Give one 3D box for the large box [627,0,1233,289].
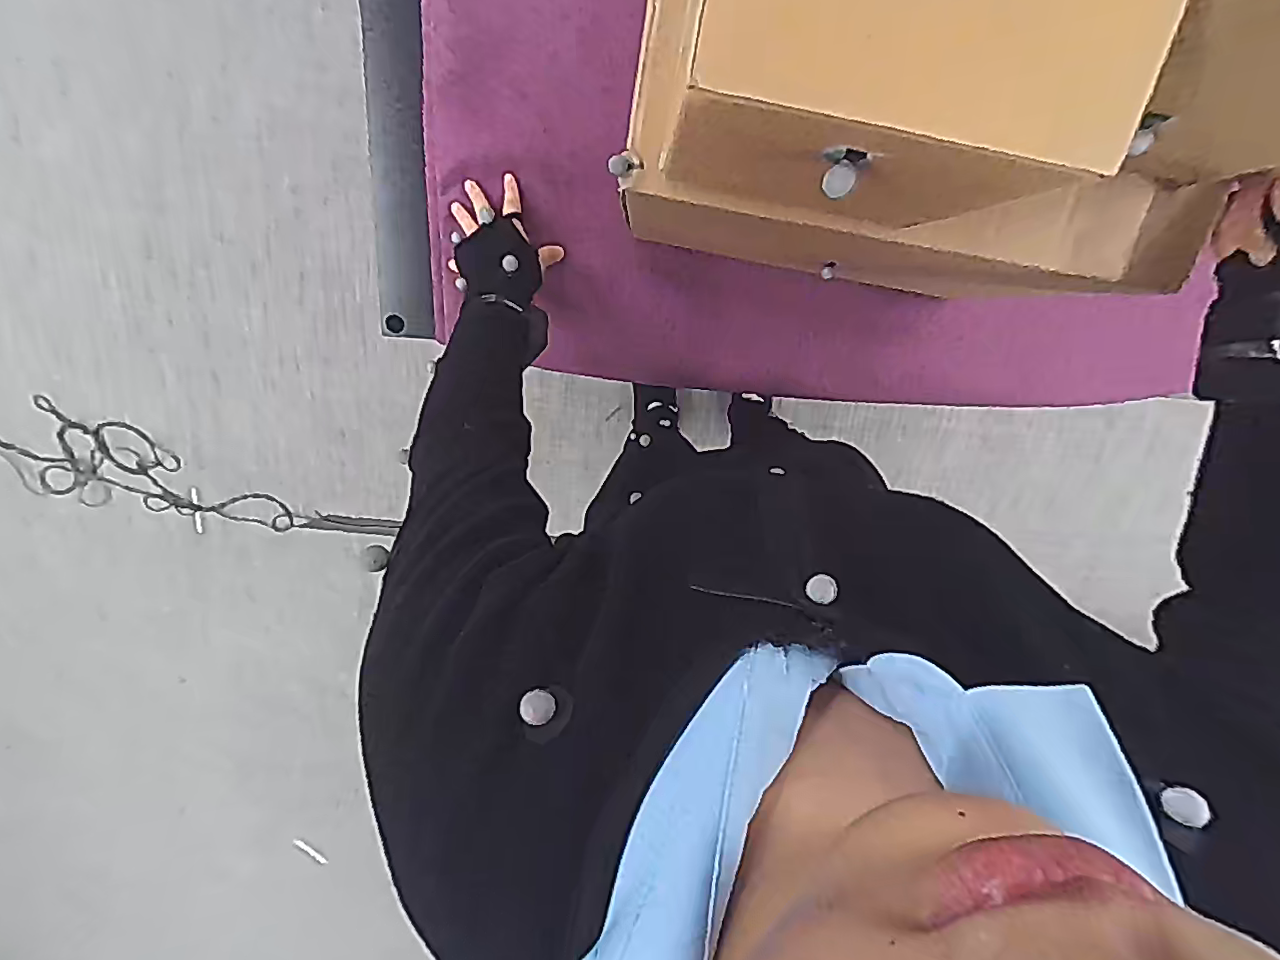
[{"bbox_3d":[0.212,-0.355,0.469,0.408,0.320,0.320,9,106,-2],"label":"large box"}]
